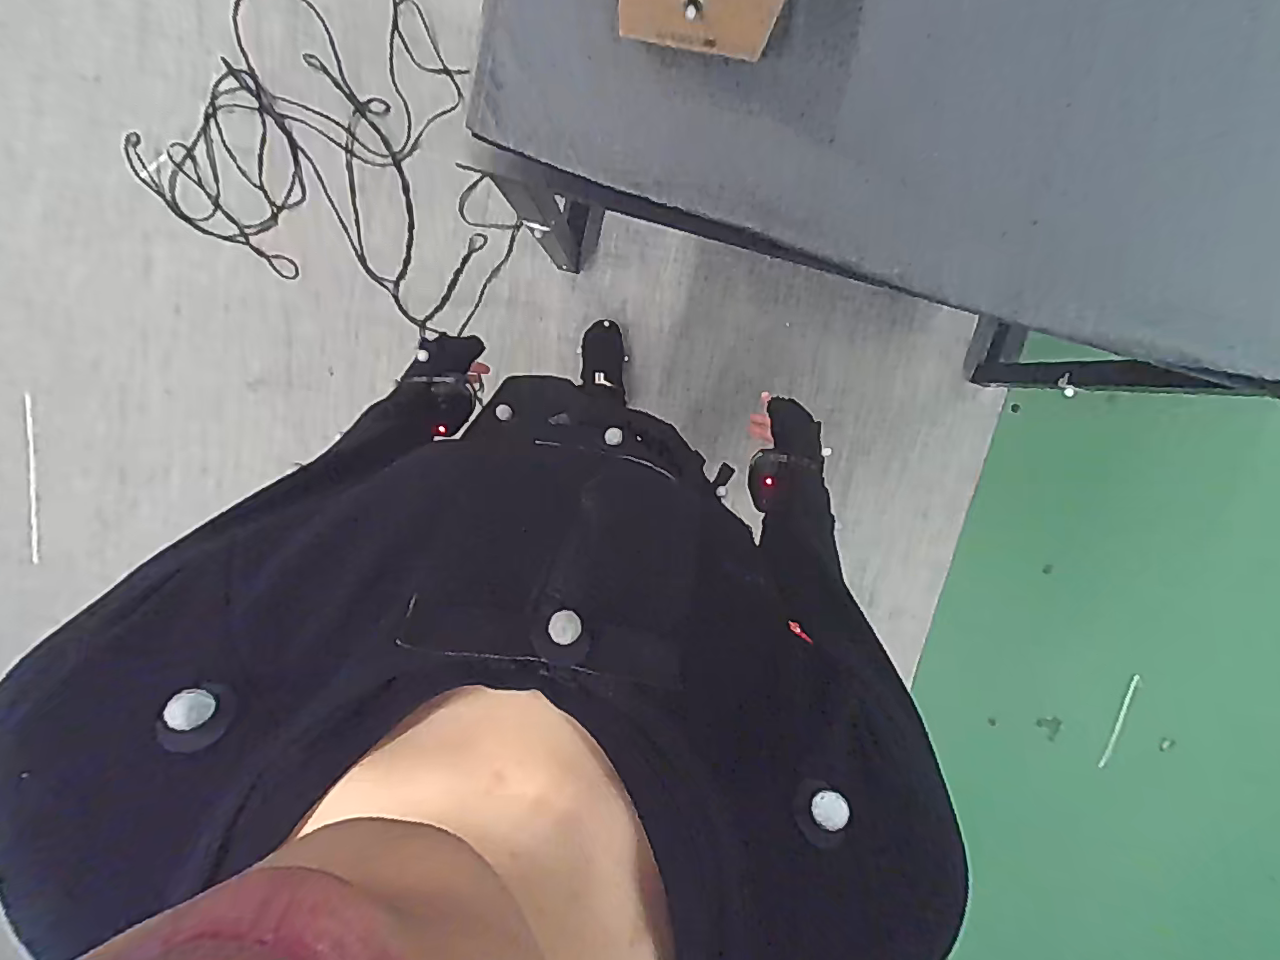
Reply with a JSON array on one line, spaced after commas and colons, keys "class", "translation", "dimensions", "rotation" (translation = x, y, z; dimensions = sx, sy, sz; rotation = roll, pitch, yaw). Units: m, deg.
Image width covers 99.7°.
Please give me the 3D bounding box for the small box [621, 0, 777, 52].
[{"class": "small box", "translation": [0.071, -0.571, 0.531], "dimensions": [0.168, 0.176, 0.179], "rotation": [8, 100, -4]}]
